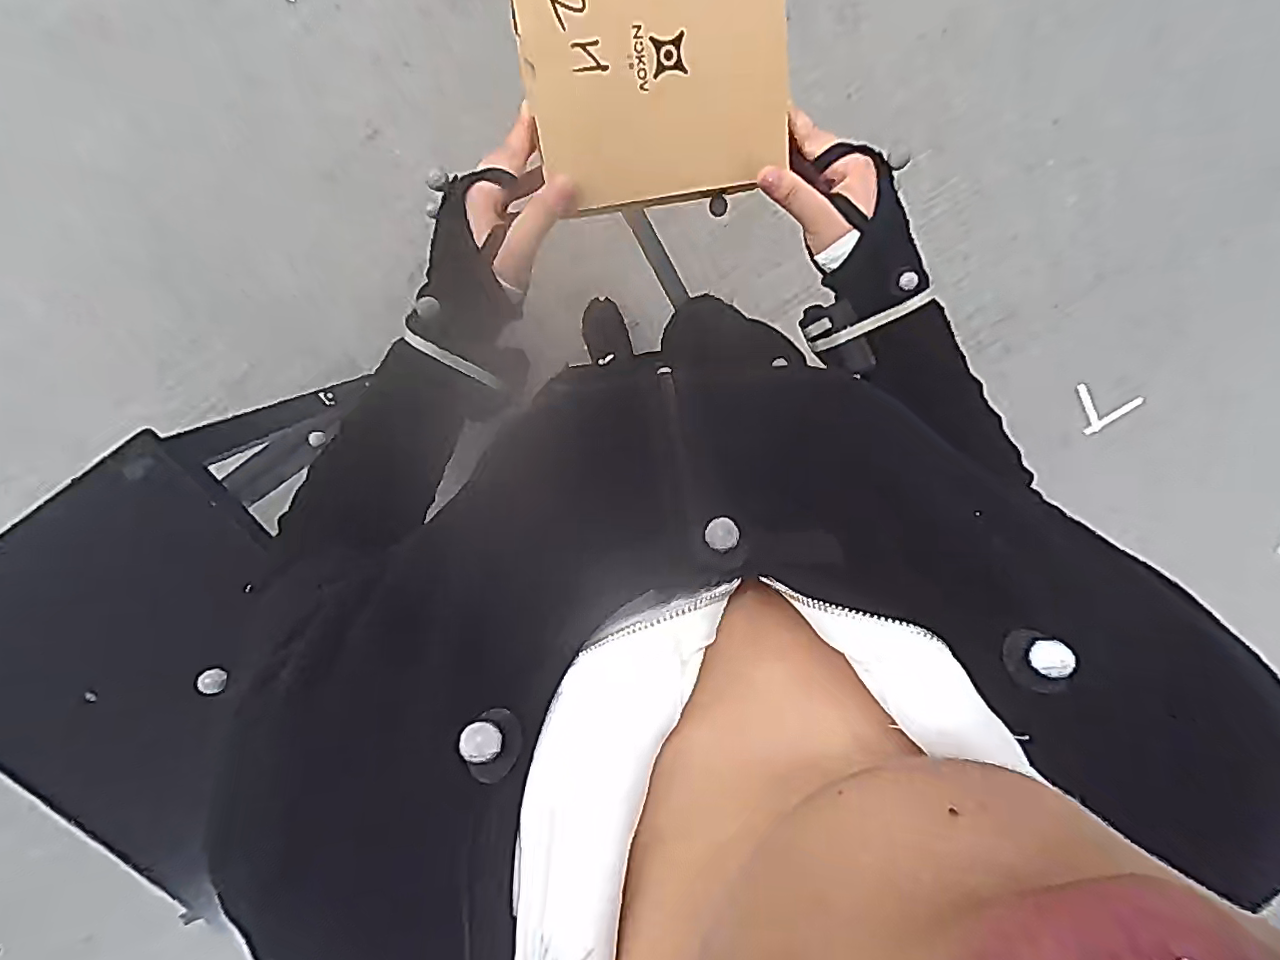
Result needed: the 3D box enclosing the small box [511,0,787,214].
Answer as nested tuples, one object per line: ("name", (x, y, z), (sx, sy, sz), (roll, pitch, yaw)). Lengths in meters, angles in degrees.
("small box", (0.003, -0.313, 0.426), (0.179, 0.176, 0.168), (-9, 114, 0))
